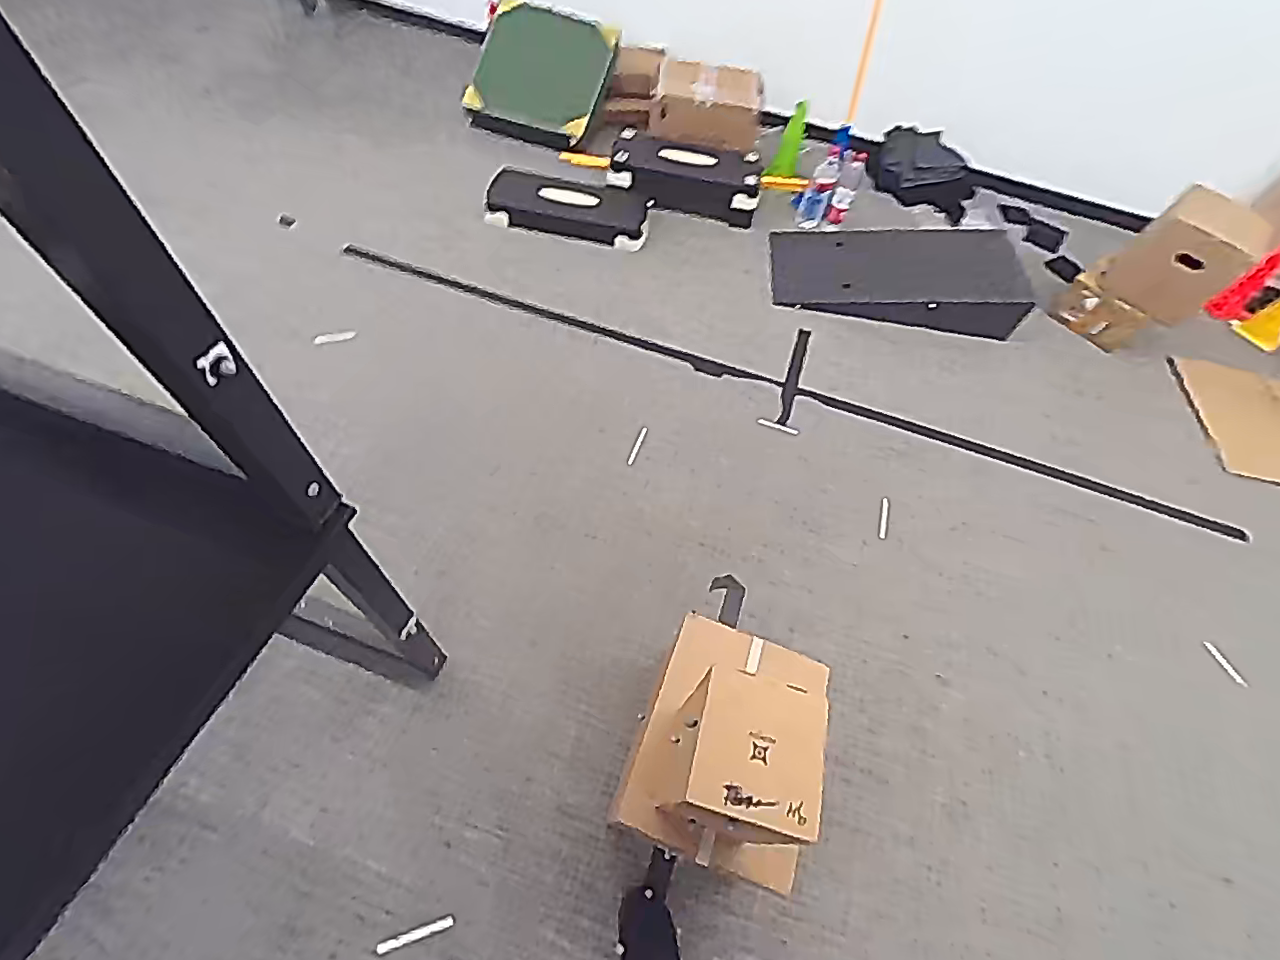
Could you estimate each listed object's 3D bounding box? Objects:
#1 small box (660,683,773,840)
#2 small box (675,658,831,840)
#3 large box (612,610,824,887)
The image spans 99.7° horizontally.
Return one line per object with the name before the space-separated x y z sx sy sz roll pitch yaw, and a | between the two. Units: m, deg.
small box | 0.138 0.469 0.897 0.168 0.176 0.179 19 57 7
small box | 0.153 0.380 0.760 0.168 0.176 0.179 16 56 5
large box | 0.156 0.557 1.136 0.320 0.320 0.408 21 56 5
